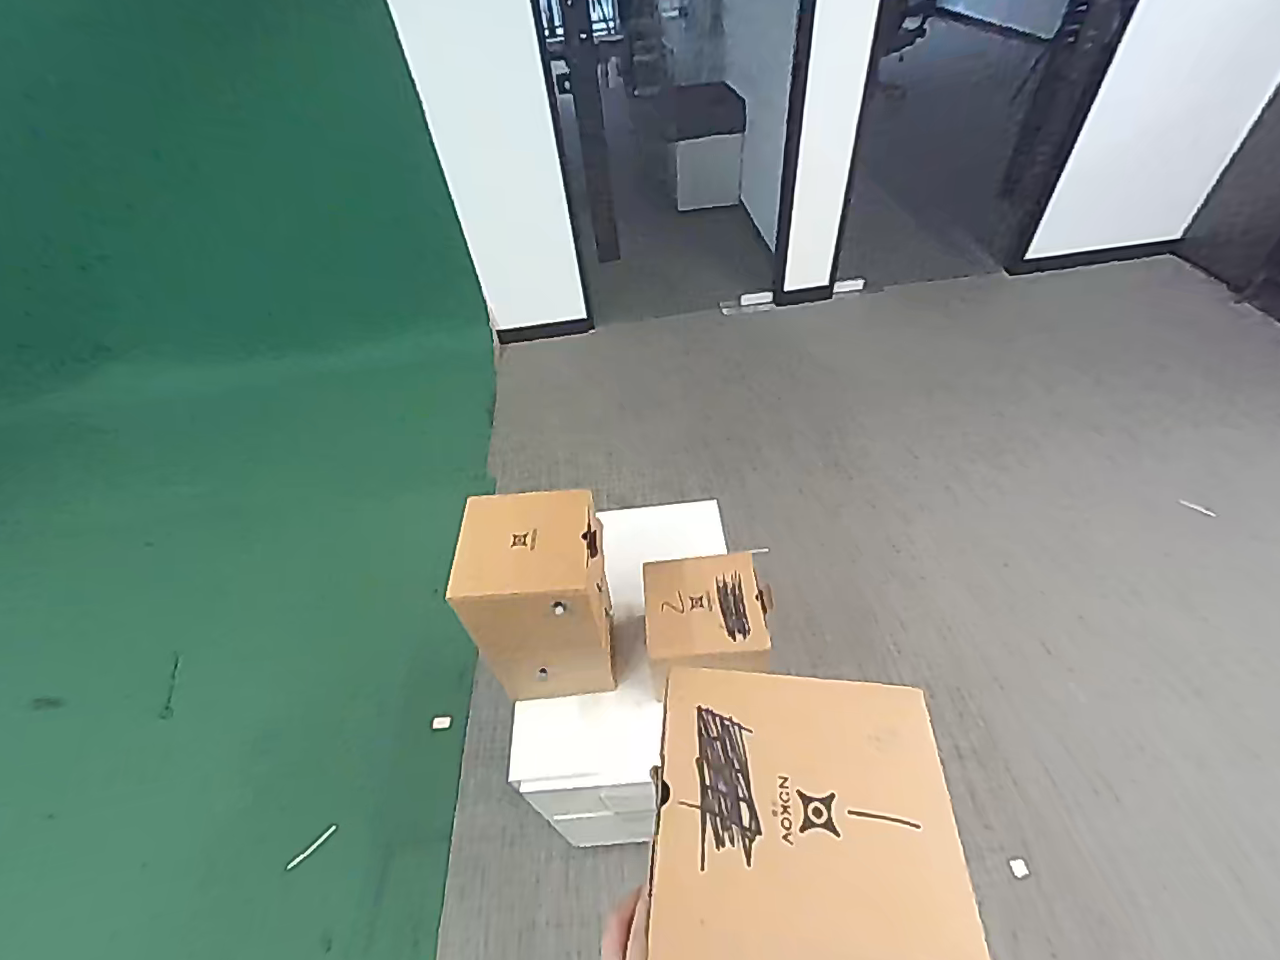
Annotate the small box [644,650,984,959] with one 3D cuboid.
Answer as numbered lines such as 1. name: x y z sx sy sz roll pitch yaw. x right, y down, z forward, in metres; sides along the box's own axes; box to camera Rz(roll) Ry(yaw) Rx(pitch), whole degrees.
1. small box: 0.101 0.244 0.389 0.179 0.176 0.168 4 45 6

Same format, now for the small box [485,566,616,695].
1. small box: -0.138 0.240 0.891 0.179 0.176 0.168 -6 47 0

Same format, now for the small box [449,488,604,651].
1. small box: -0.147 0.131 0.770 0.179 0.176 0.168 -3 46 0
